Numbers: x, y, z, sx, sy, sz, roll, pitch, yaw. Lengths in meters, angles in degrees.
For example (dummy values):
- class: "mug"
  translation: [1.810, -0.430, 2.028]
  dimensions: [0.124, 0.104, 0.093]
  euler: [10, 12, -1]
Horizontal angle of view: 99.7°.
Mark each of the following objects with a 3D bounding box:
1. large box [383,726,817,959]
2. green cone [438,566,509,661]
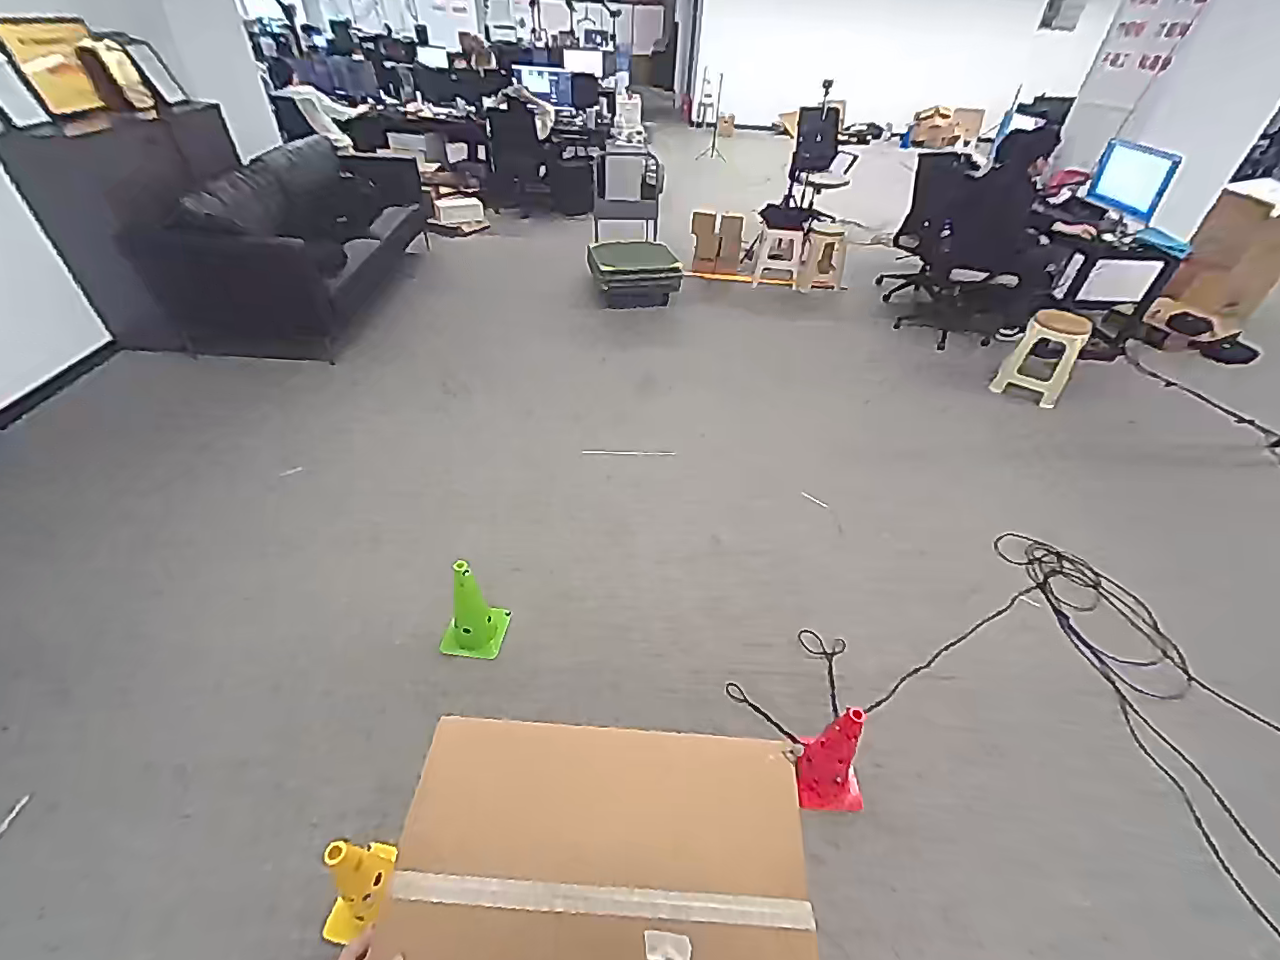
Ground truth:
- class: "large box"
  translation: [-0.039, 0.509, 0.629]
  dimensions: [0.408, 0.320, 0.320]
  euler: [3, 47, 0]
- class: "green cone"
  translation: [-0.569, 0.405, 1.765]
  dimensions: [0.200, 0.368, 0.202]
  euler: [5, 42, 3]
